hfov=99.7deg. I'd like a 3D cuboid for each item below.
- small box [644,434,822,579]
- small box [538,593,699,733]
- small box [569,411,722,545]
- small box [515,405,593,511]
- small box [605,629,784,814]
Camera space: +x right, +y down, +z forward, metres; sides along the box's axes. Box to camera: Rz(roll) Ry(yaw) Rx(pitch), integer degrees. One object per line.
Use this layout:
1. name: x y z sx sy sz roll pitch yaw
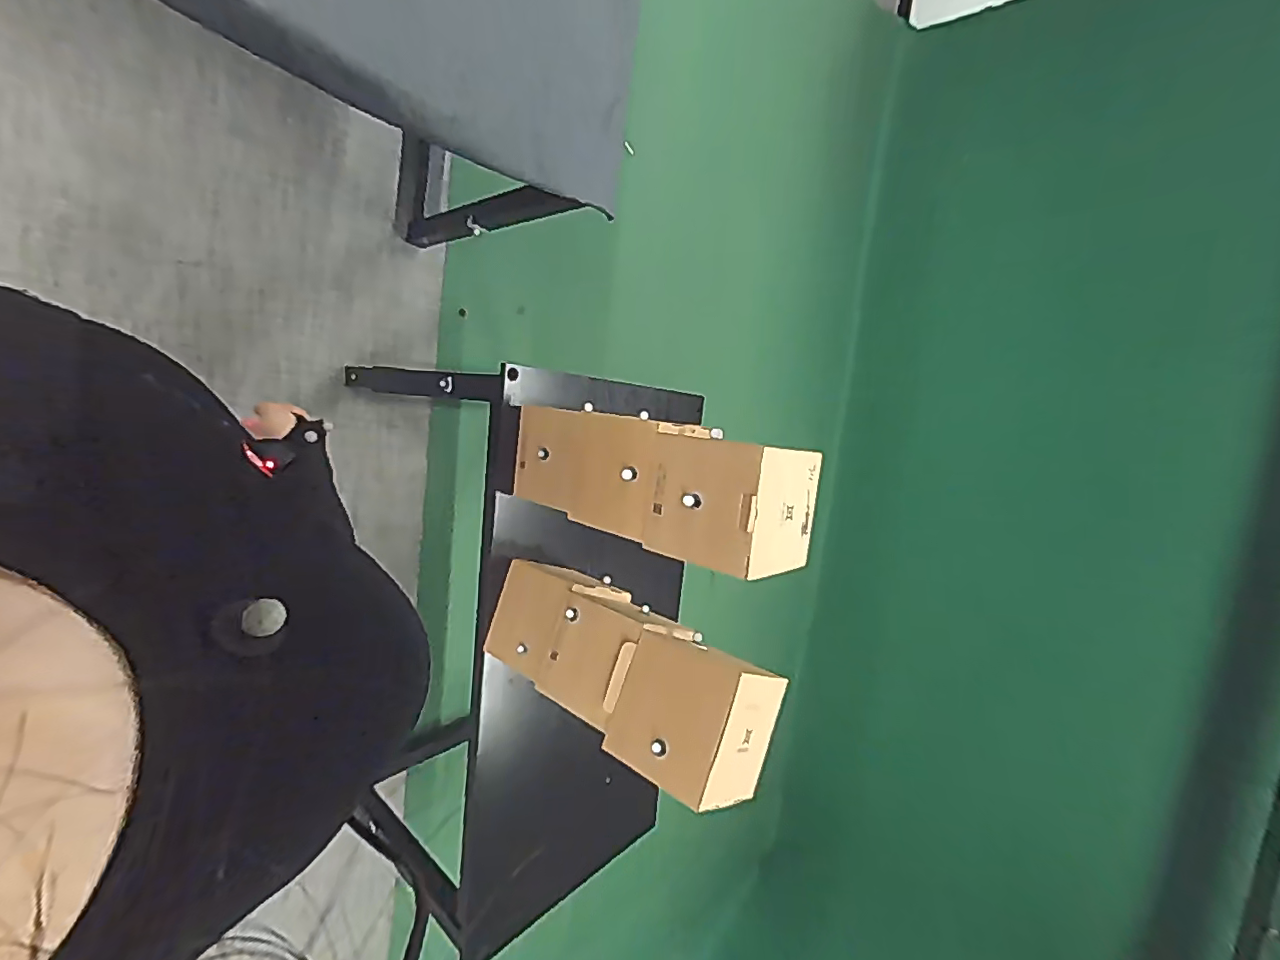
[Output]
1. small box: 0.126 0.029 0.749 0.179 0.176 0.168 1 98 -48
2. small box: -0.037 0.293 0.882 0.179 0.176 0.168 27 80 -50
3. small box: 0.005 -0.008 0.854 0.168 0.176 0.179 -1 100 -49
4. small box: -0.104 -0.042 0.971 0.179 0.176 0.168 -1 101 -49
5. small box: 0.075 0.333 0.769 0.168 0.176 0.179 30 76 -50
